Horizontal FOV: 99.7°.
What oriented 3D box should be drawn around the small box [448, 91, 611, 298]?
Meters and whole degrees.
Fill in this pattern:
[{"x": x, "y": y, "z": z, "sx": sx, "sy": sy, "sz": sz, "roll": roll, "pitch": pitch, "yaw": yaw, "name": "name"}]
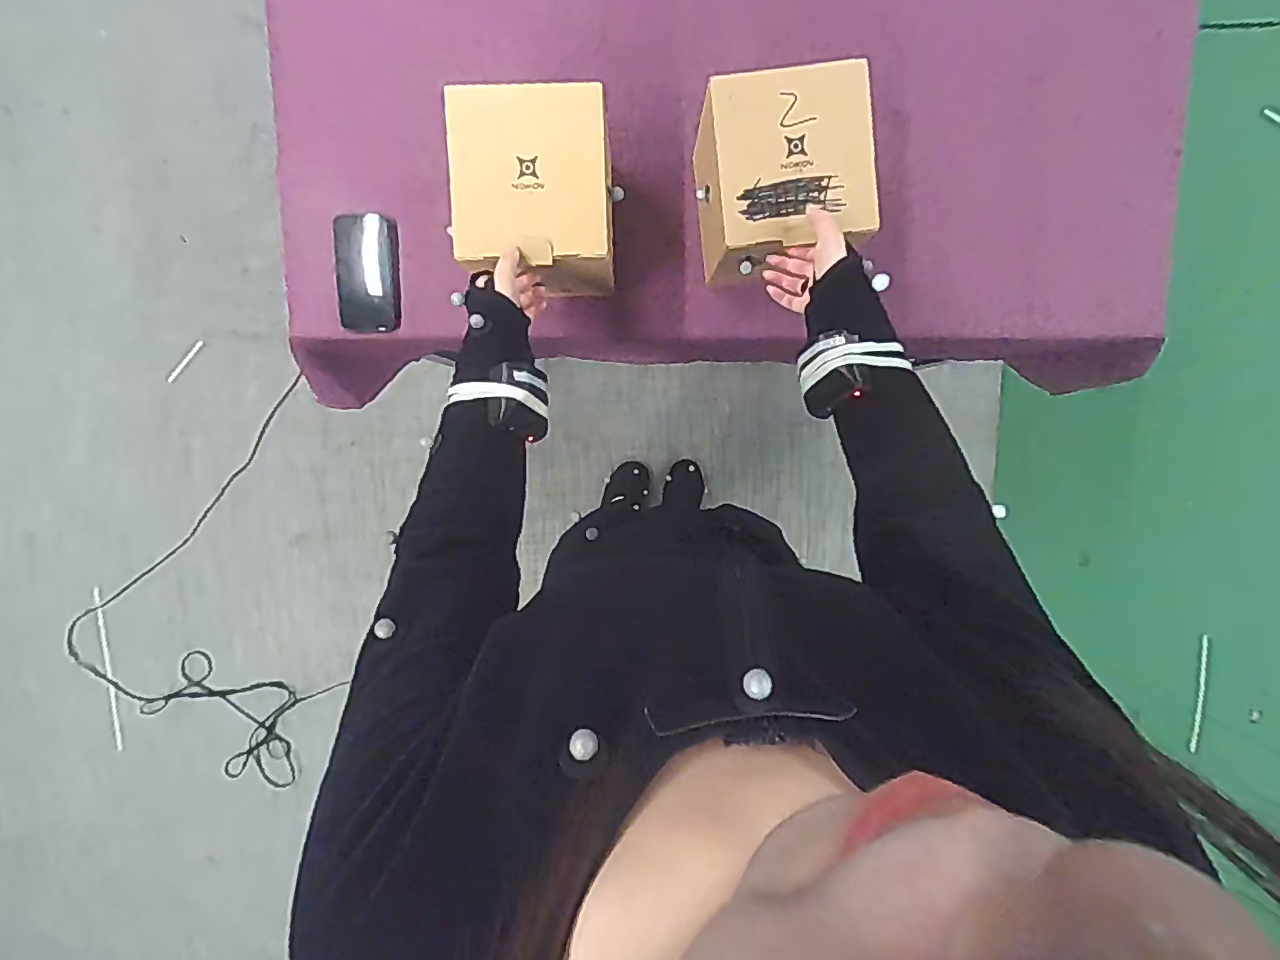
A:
[{"x": -0.122, "y": -0.329, "z": 0.654, "sx": 0.168, "sy": 0.176, "sz": 0.179, "roll": -1, "pitch": 97, "yaw": -1, "name": "small box"}]
